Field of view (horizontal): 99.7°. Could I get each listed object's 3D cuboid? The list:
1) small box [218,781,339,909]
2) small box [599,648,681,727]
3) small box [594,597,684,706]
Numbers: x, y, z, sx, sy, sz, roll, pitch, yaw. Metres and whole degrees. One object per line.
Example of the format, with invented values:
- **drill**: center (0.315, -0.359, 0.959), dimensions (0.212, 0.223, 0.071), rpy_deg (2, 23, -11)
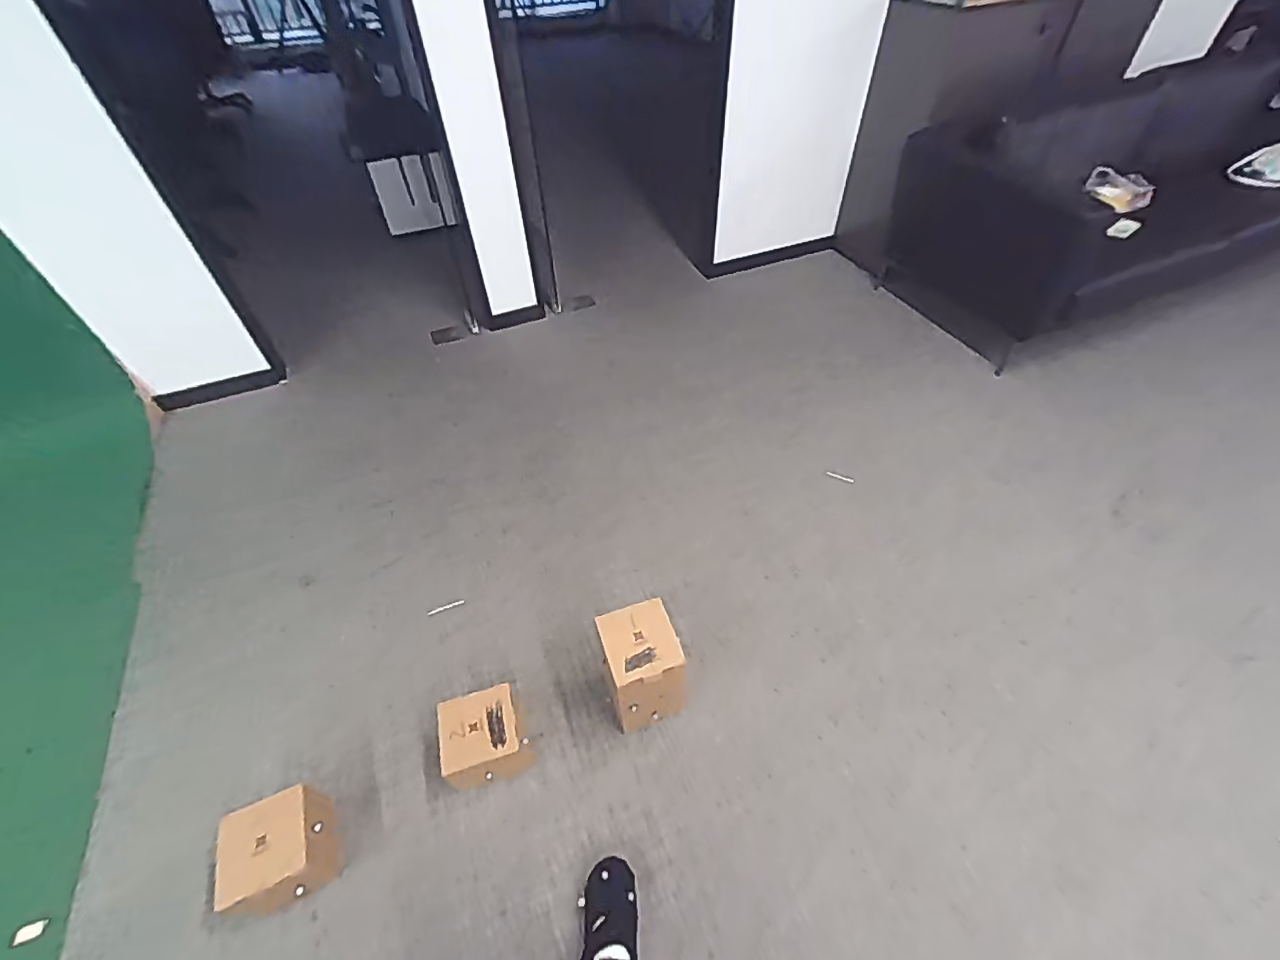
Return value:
- **small box**: center (-0.777, 0.799, 1.178), dimensions (0.168, 0.176, 0.179), rpy_deg (-19, 50, -16)
- **small box**: center (0.000, 0.519, 1.406), dimensions (0.168, 0.176, 0.179), rpy_deg (-16, 50, -13)
- **small box**: center (-0.003, 0.412, 1.280), dimensions (0.168, 0.176, 0.179), rpy_deg (-15, 49, -12)
